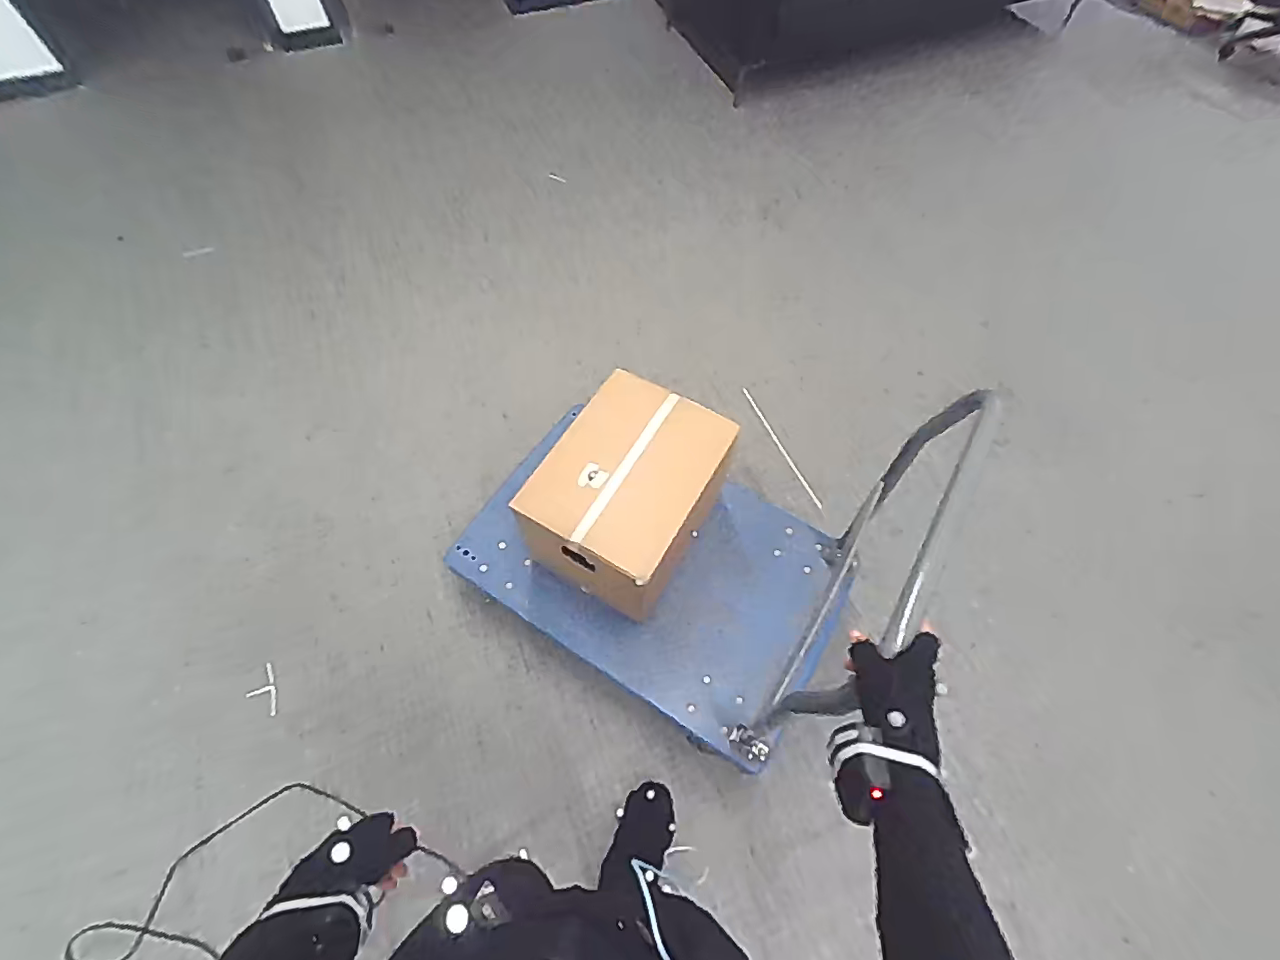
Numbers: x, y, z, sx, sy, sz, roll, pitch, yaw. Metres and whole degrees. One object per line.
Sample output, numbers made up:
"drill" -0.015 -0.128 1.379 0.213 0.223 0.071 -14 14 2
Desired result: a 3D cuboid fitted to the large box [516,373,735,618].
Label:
"large box" -0.021 0.041 1.238 0.320 0.320 0.408 26 65 13
